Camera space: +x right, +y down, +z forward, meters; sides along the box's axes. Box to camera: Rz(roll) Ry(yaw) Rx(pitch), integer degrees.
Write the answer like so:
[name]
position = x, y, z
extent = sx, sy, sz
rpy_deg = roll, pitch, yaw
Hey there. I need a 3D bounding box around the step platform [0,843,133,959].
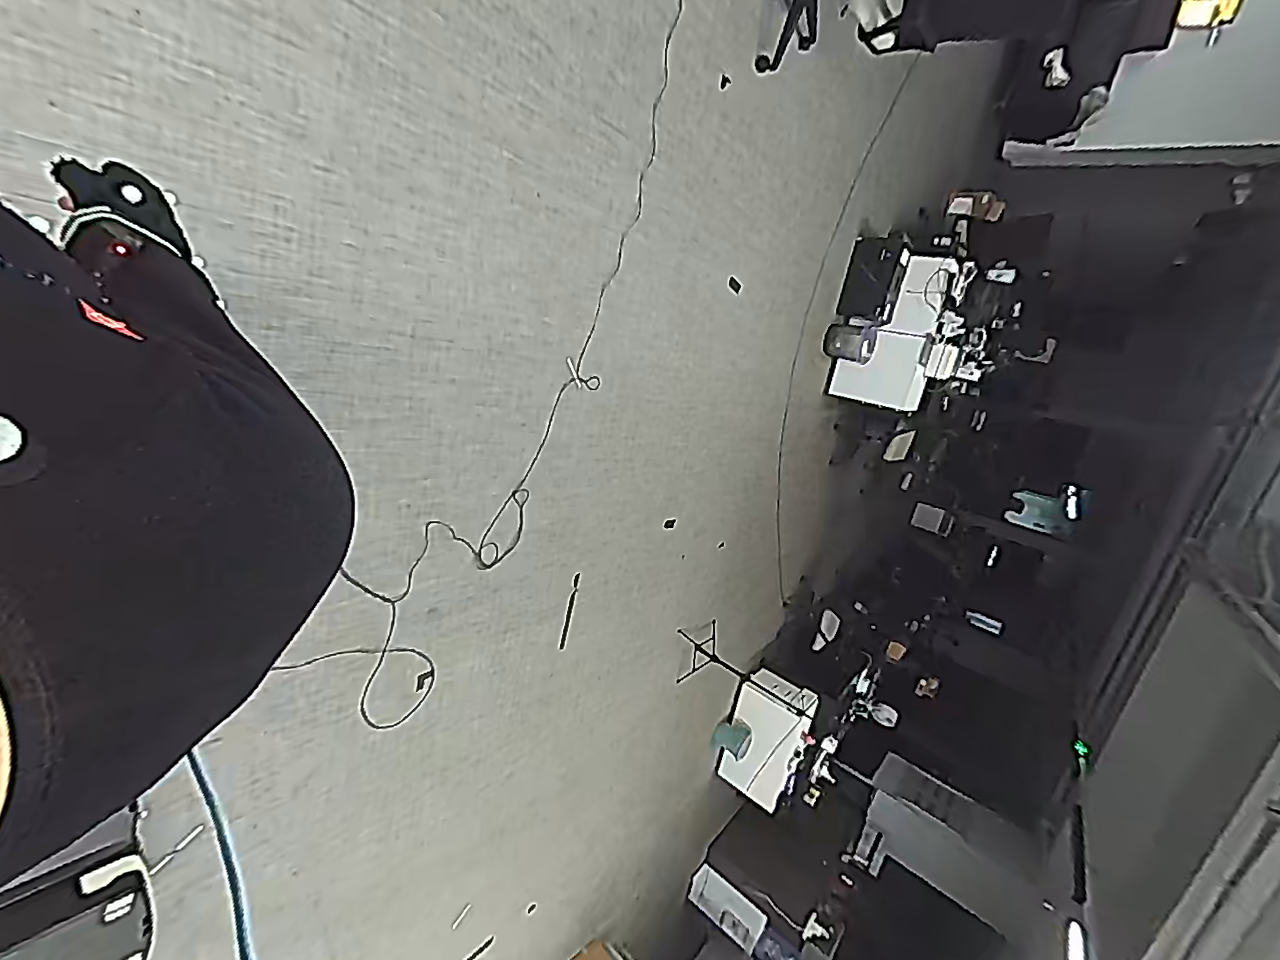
[step platform]
position = -1.485, 1.086, 1.086
extent = 0.684, 0.204, 0.286
rpy_deg = -9, 115, -50
